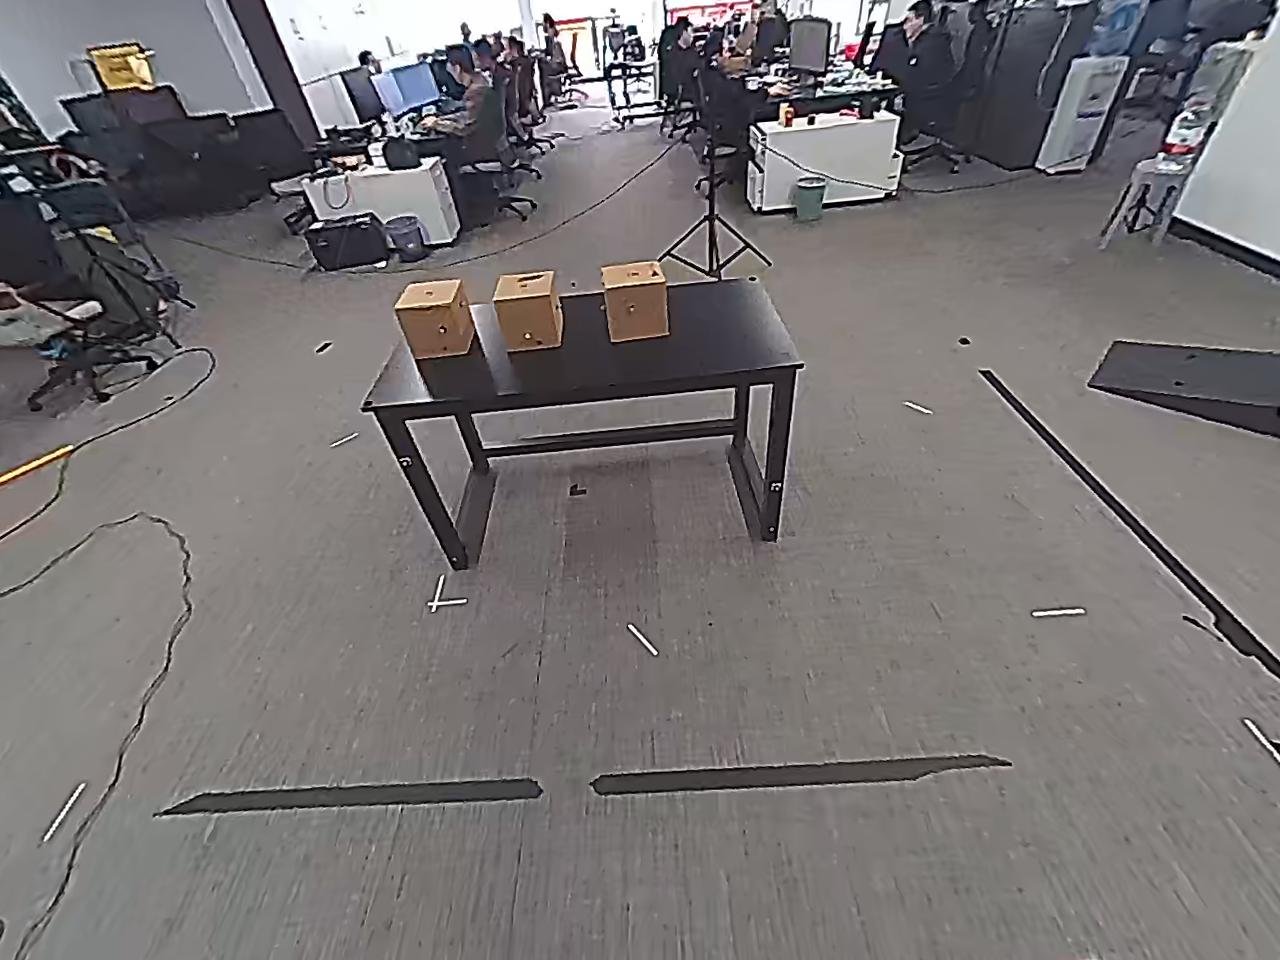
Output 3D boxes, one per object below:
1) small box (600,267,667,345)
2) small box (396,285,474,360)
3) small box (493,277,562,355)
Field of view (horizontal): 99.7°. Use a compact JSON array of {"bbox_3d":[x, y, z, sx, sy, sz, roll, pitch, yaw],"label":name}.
[{"bbox_3d":[-0.019,-0.525,1.640,0.179,0.176,0.168,-9,42,-1],"label":"small box"},{"bbox_3d":[-0.622,-0.480,1.666,0.168,0.176,0.179,-5,41,-1],"label":"small box"},{"bbox_3d":[-0.336,-0.501,1.652,0.168,0.176,0.179,-6,43,1],"label":"small box"}]
